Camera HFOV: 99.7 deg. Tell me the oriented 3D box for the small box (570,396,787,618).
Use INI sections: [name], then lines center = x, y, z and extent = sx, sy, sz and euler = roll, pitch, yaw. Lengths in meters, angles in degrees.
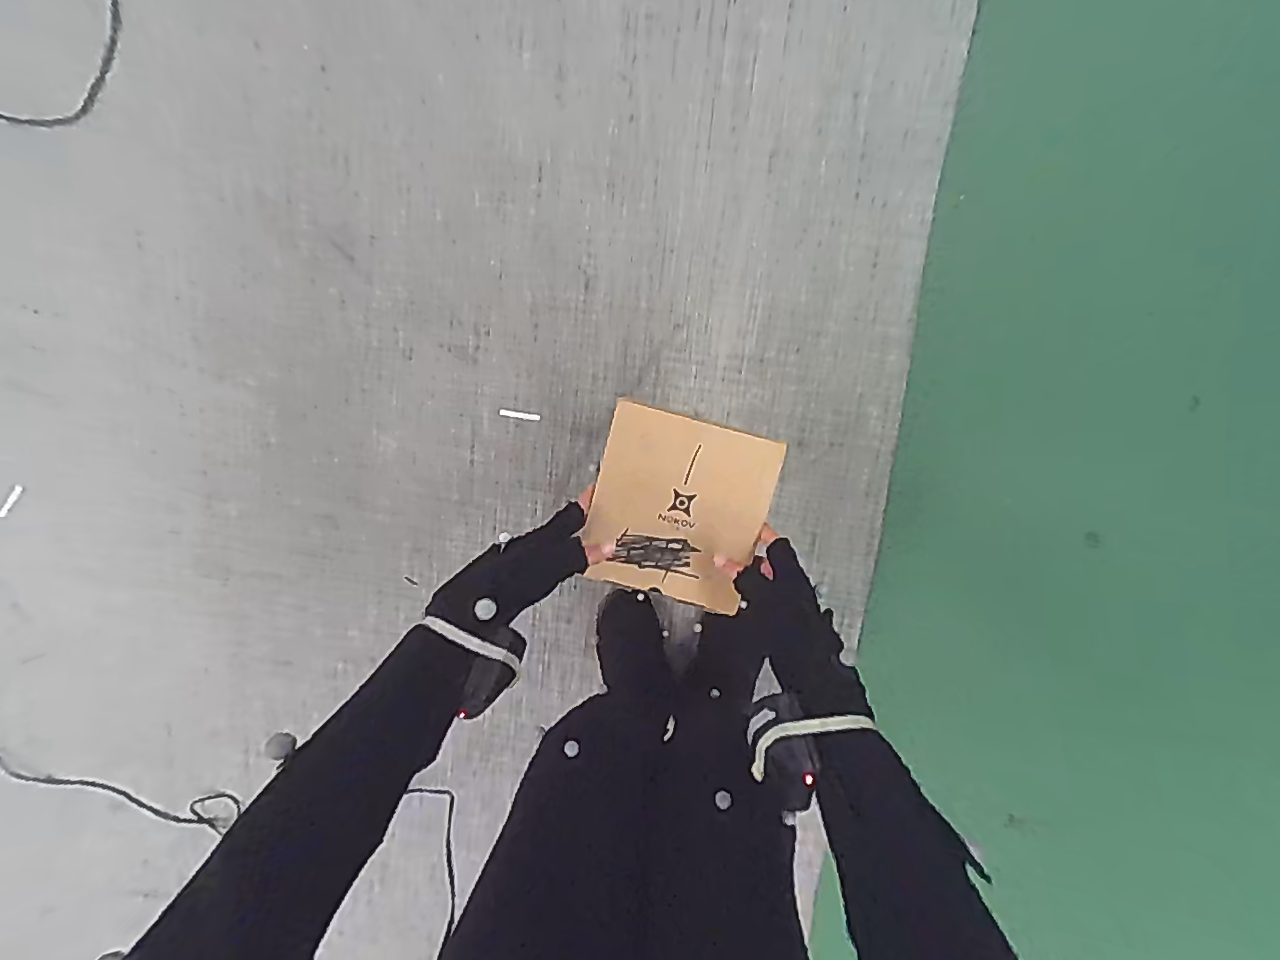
[small box]
center = 0.035, 0.017, 0.576
extent = 0.168, 0.176, 0.179
euler = 15, 98, -2
